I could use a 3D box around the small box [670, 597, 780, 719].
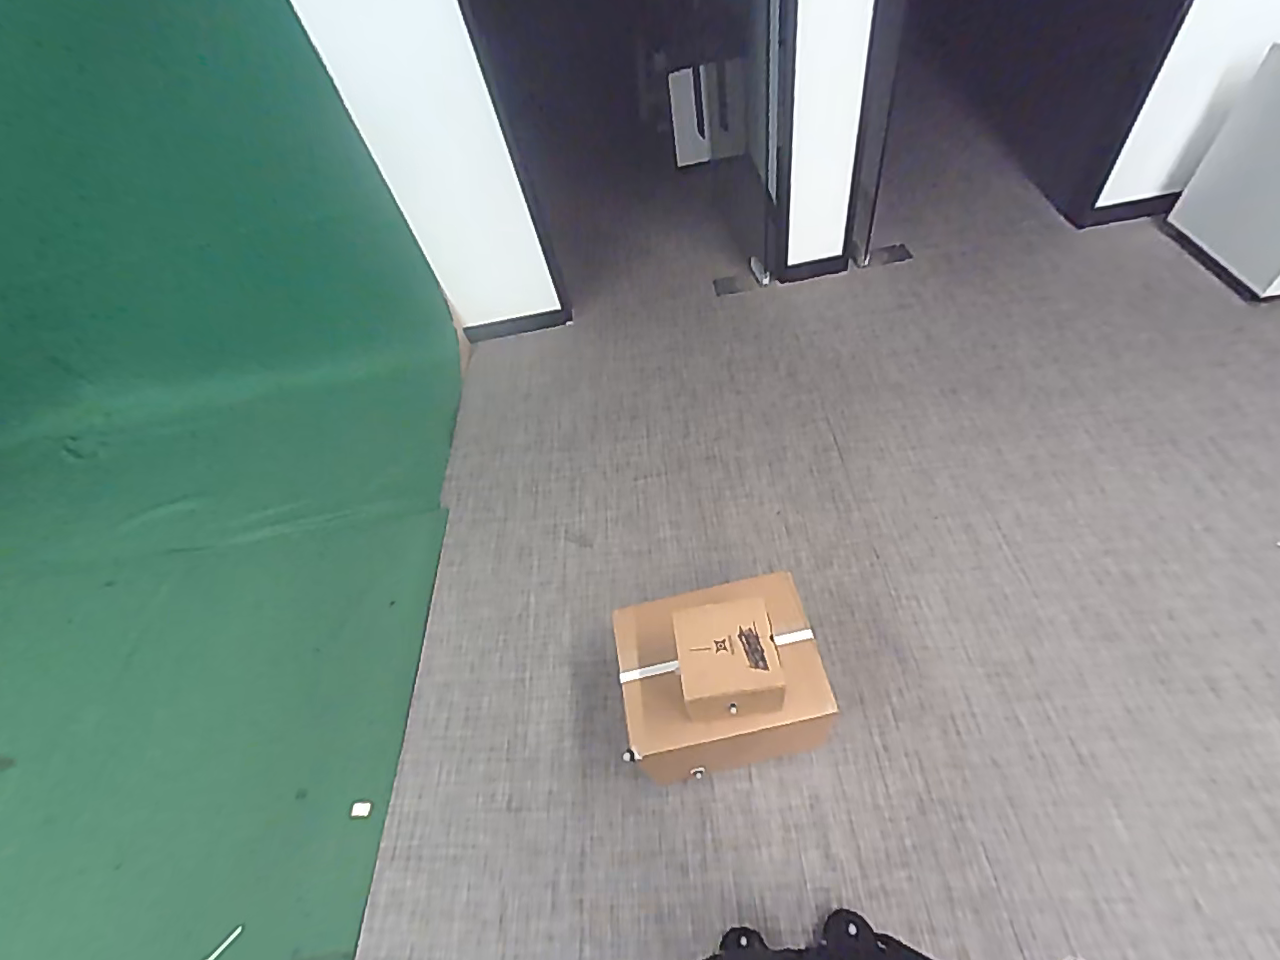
[{"bbox_3d":[0.160,0.343,1.032,0.179,0.176,0.168,-11,52,5],"label":"small box"}]
